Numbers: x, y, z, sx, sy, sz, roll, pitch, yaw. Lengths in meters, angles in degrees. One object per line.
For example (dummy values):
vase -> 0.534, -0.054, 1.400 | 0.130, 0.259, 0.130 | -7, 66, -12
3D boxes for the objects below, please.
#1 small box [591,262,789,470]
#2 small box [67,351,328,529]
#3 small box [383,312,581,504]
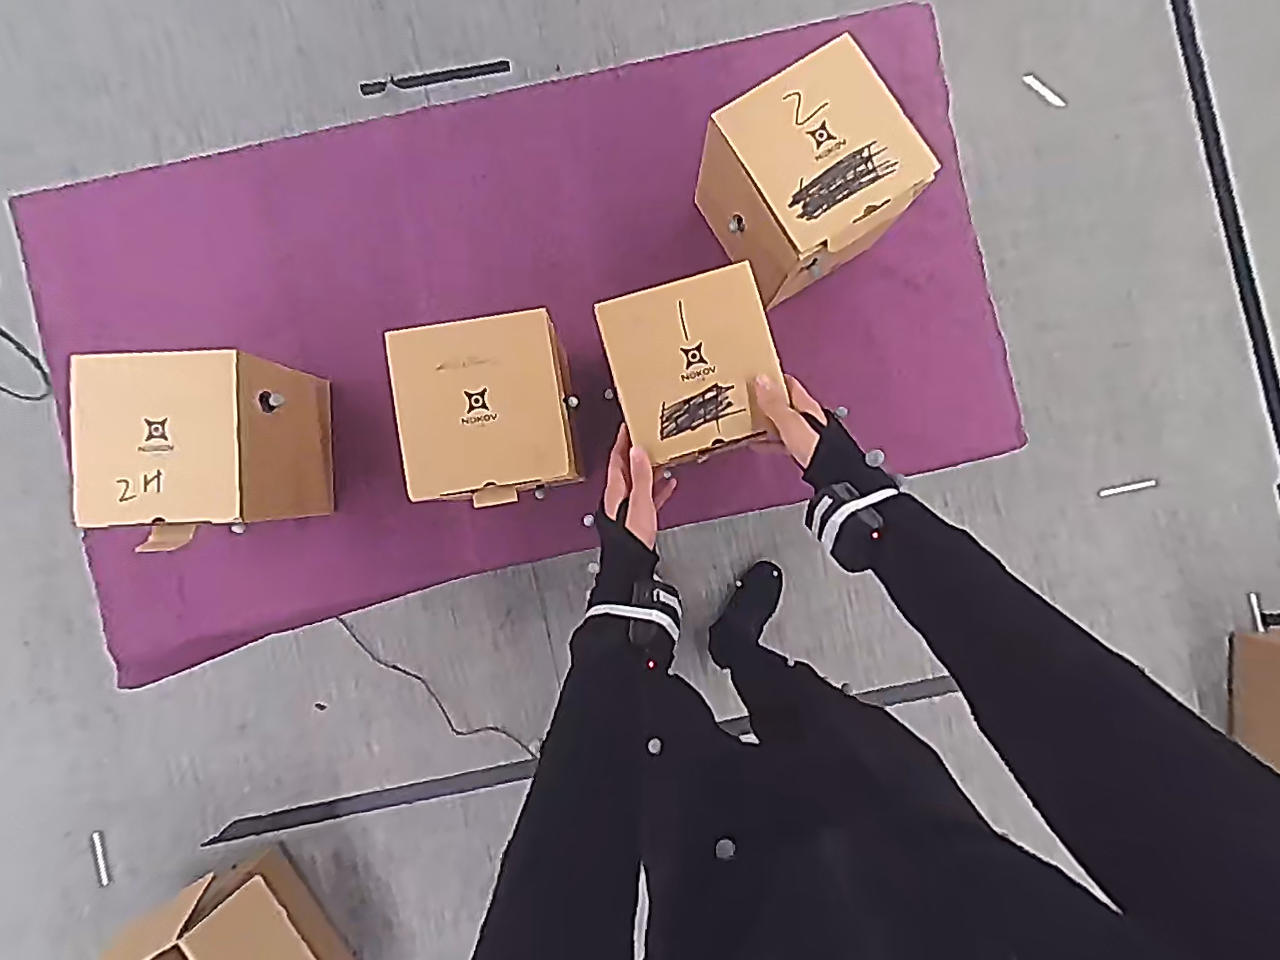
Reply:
small box -> 0.051, -0.114, 0.621 | 0.168, 0.176, 0.179 | -16, 88, -1
small box -> -0.481, -0.038, 0.614 | 0.168, 0.176, 0.179 | -2, 90, 0
small box -> -0.165, -0.072, 0.620 | 0.168, 0.176, 0.179 | -9, 89, -2
